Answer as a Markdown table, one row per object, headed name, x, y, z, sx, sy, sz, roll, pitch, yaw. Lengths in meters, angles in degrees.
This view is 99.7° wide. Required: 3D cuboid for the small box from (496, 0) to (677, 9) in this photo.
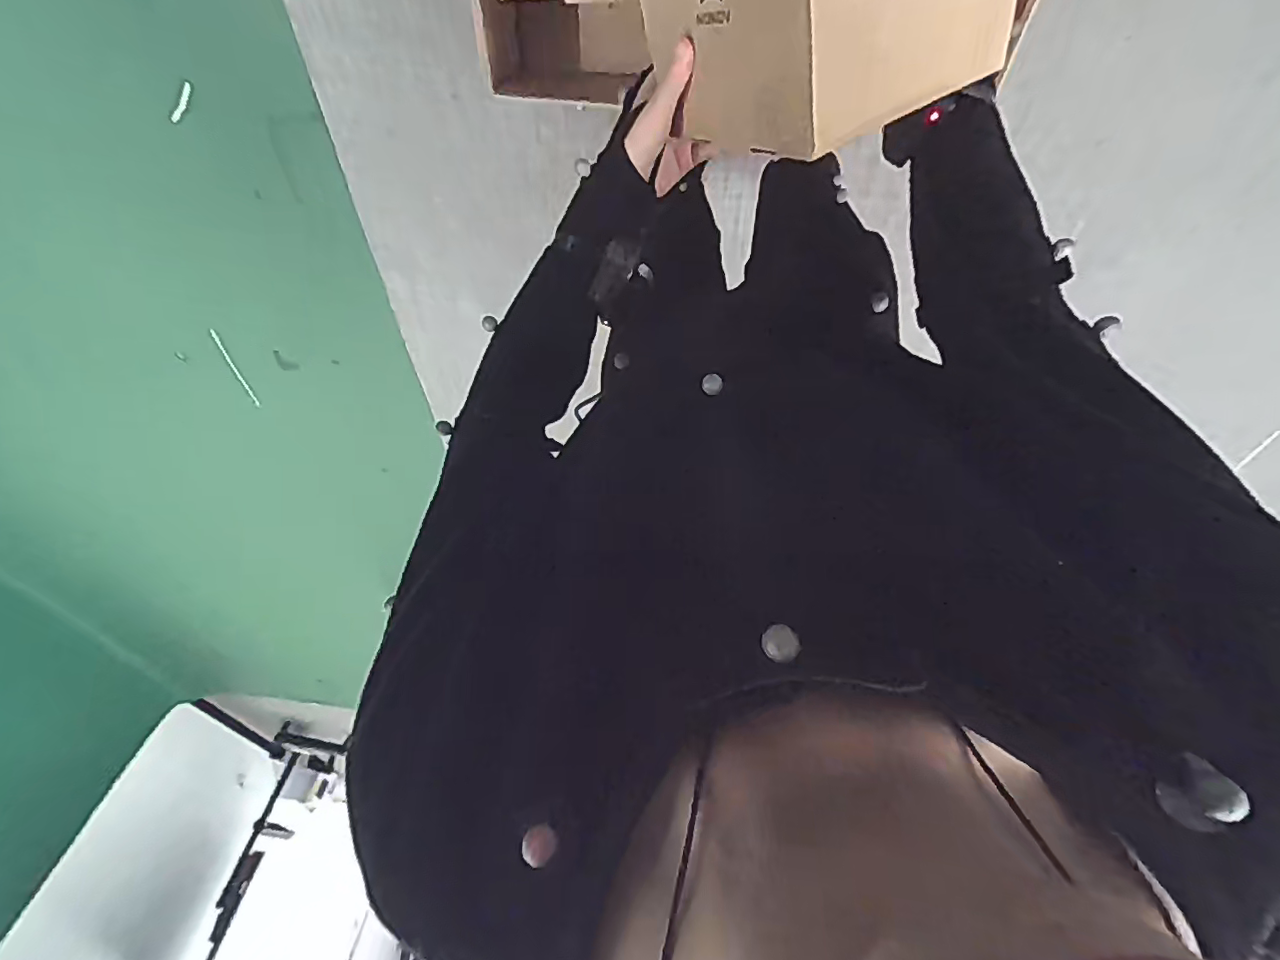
| name | x | y | z | sx | sy | sz | roll | pitch | yaw |
| --- | --- | --- | --- | --- | --- | --- | --- | --- | --- |
| small box | -0.037 | -0.521 | 0.449 | 0.168 | 0.176 | 0.179 | 4 | 138 | 7 |
